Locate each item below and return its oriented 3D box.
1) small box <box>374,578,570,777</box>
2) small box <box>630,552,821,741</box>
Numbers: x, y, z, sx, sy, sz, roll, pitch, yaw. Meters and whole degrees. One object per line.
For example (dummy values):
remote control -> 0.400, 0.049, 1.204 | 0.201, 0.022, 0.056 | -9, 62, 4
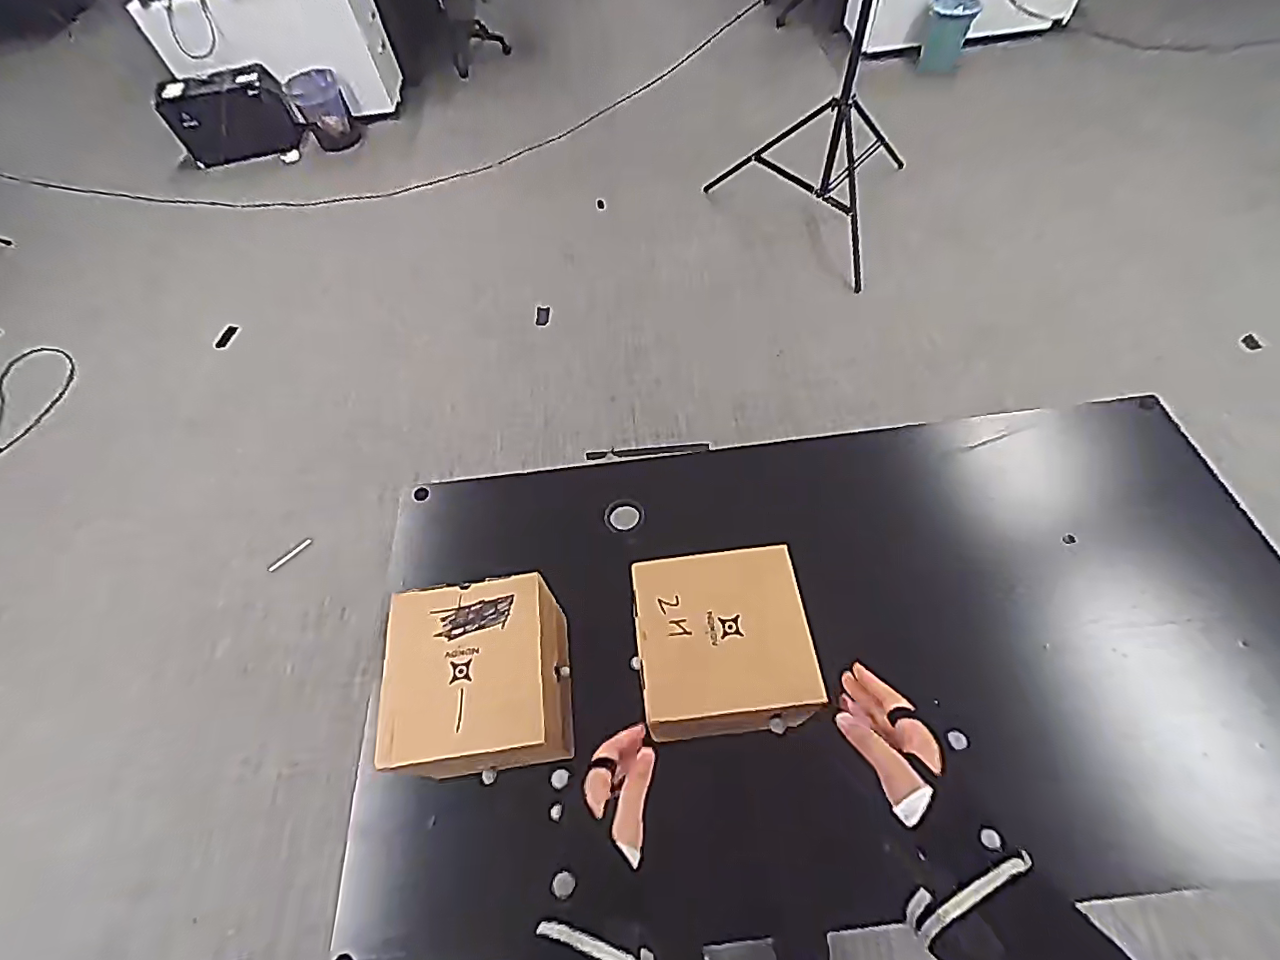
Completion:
small box -> -0.179, 0.234, 0.628 | 0.168, 0.176, 0.179 | -9, 59, -1
small box -> 0.086, 0.198, 0.627 | 0.179, 0.176, 0.168 | -7, 58, 1
